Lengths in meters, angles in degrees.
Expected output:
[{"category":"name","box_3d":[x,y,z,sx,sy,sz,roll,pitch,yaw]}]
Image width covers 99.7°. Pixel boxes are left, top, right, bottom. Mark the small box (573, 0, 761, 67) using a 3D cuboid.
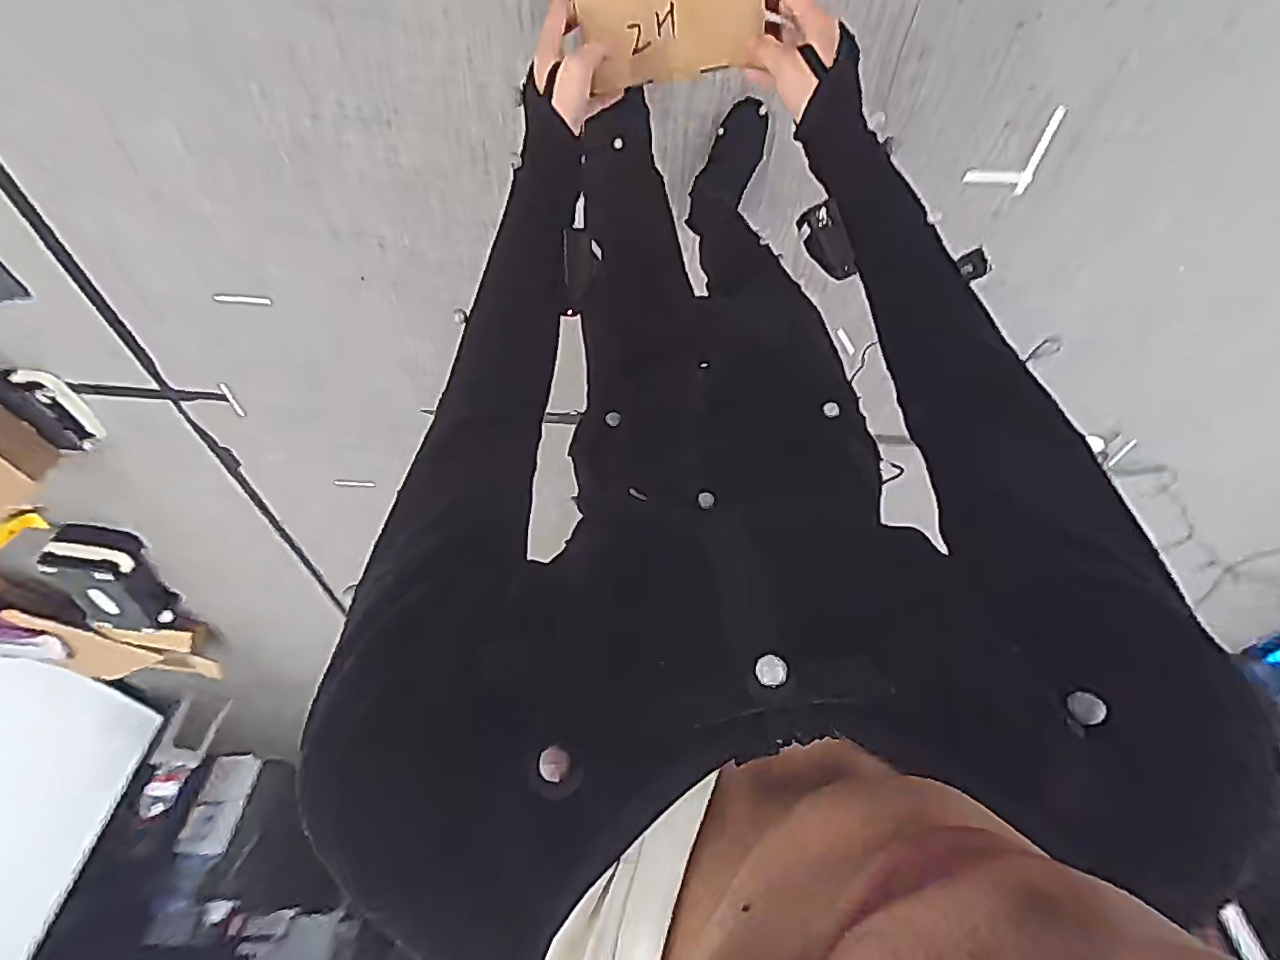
[{"category":"small box","box_3d":[0.018,-0.513,0.491,0.168,0.176,0.179,-5,138,8]}]
